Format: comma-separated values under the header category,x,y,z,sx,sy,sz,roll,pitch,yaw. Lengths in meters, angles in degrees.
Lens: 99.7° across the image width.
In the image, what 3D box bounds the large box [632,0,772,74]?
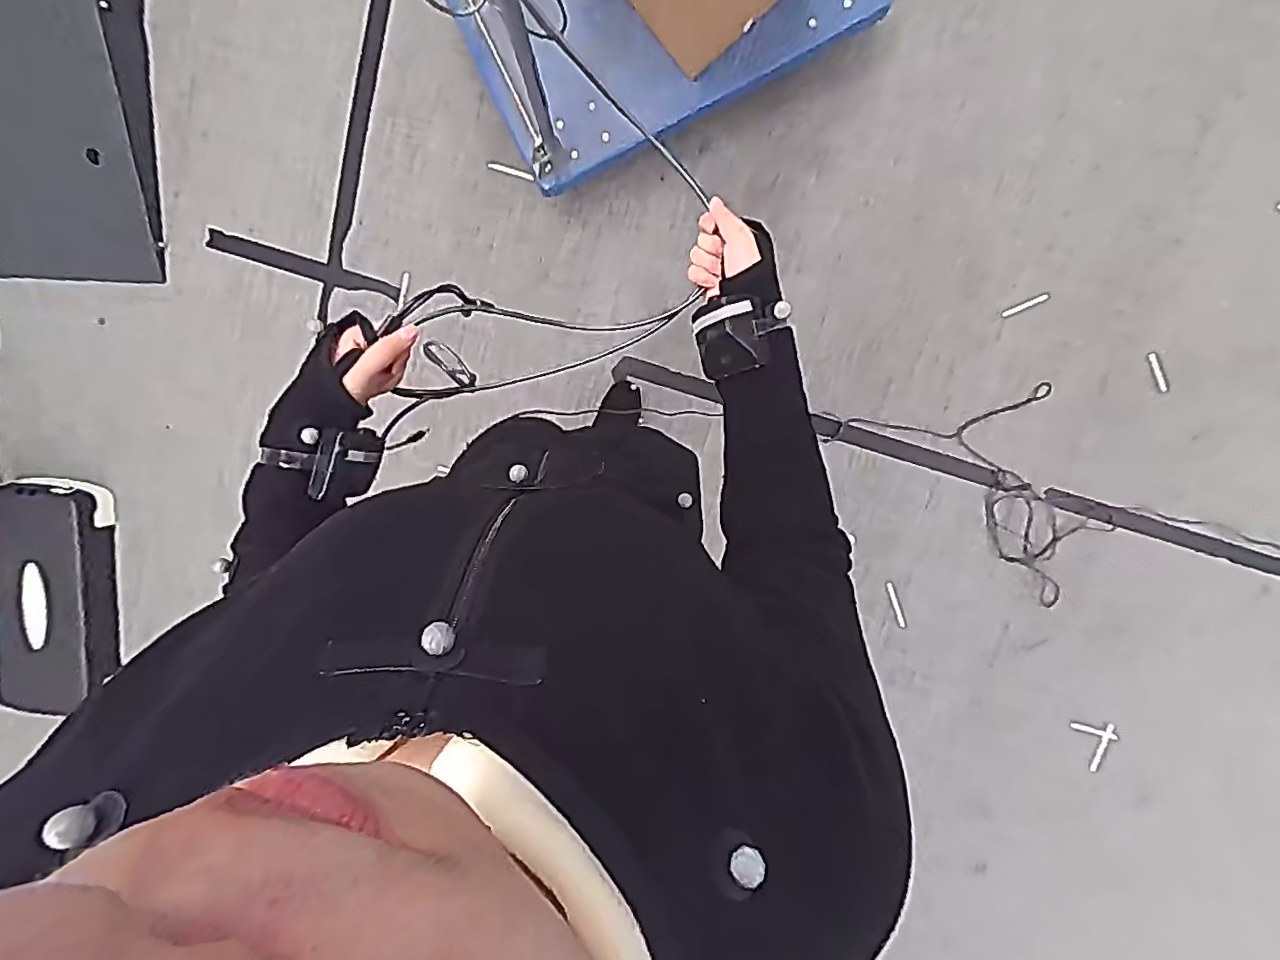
category,x,y,z,sx,sy,sz,roll,pitch,yaw
large box,0.094,-1.095,0.989,0.320,0.320,0.408,-40,96,8
